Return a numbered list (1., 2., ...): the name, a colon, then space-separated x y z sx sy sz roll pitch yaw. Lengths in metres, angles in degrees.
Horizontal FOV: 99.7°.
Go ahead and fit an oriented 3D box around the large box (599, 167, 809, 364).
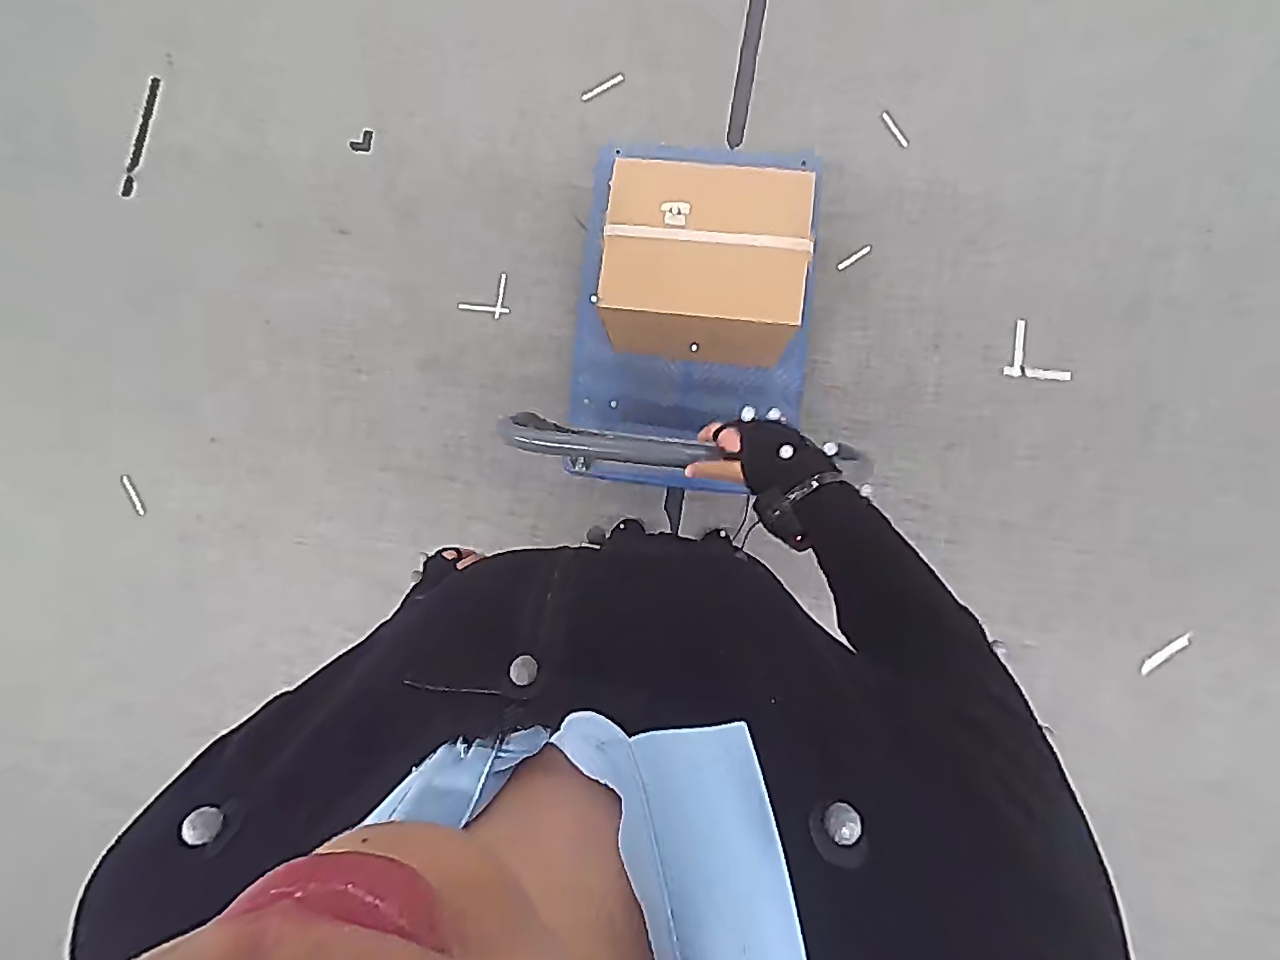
1. large box: 0.141 -0.465 1.232 0.408 0.320 0.320 6 85 5
